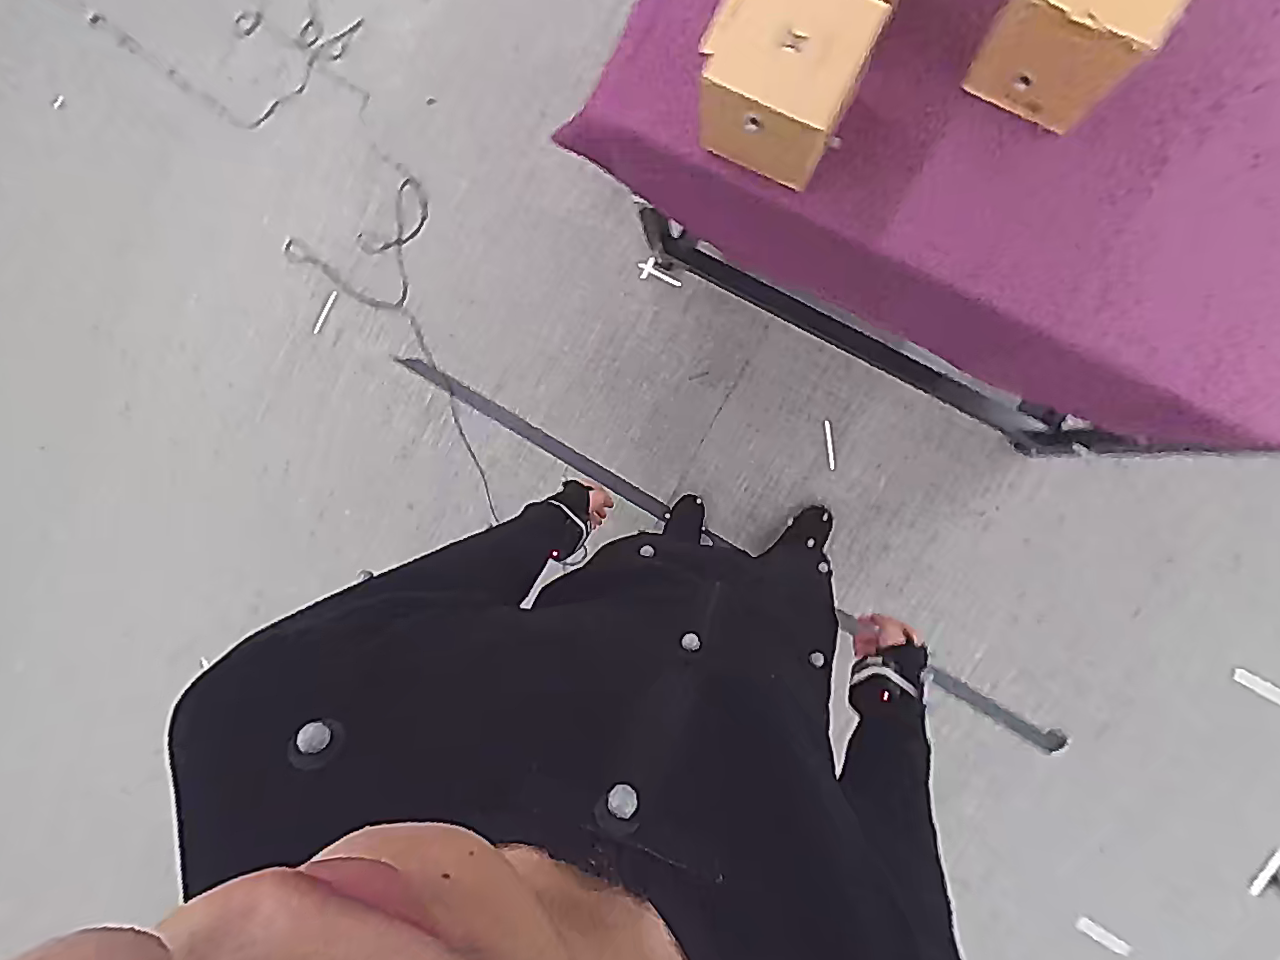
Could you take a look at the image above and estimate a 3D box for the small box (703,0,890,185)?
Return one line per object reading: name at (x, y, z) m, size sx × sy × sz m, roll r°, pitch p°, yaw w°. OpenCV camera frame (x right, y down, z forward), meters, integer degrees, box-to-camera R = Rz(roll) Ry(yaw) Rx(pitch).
small box at (0.203, -0.551, 0.752) m, size 0.179 × 0.176 × 0.168 m, roll 29°, pitch 96°, yaw 5°
